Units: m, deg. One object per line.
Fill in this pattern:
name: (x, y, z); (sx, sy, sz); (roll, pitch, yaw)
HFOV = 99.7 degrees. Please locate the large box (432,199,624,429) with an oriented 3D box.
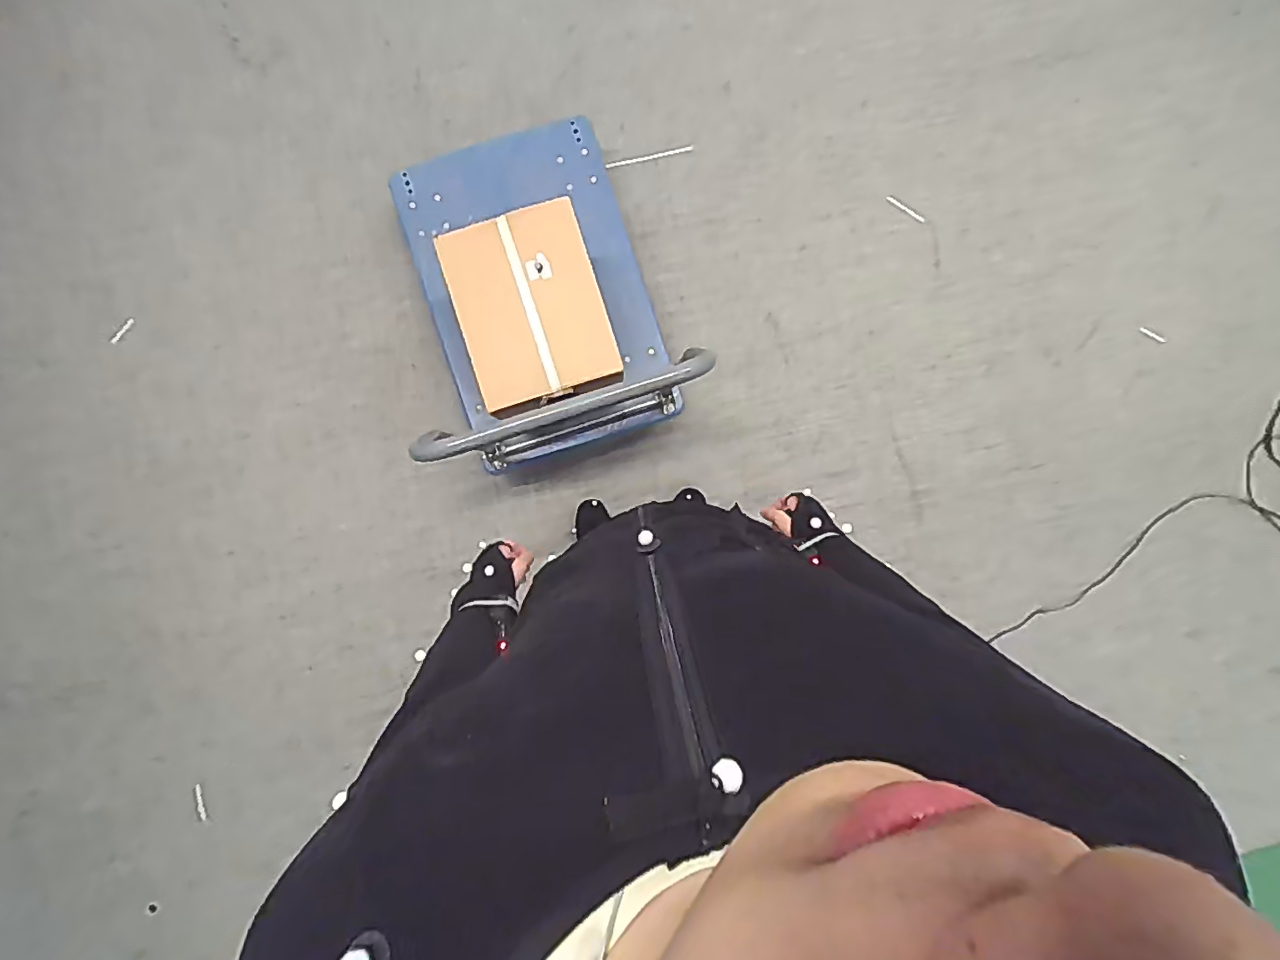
large box: (-0.246, -0.376, 1.318); (0.320, 0.320, 0.408); (-18, 88, -3)
